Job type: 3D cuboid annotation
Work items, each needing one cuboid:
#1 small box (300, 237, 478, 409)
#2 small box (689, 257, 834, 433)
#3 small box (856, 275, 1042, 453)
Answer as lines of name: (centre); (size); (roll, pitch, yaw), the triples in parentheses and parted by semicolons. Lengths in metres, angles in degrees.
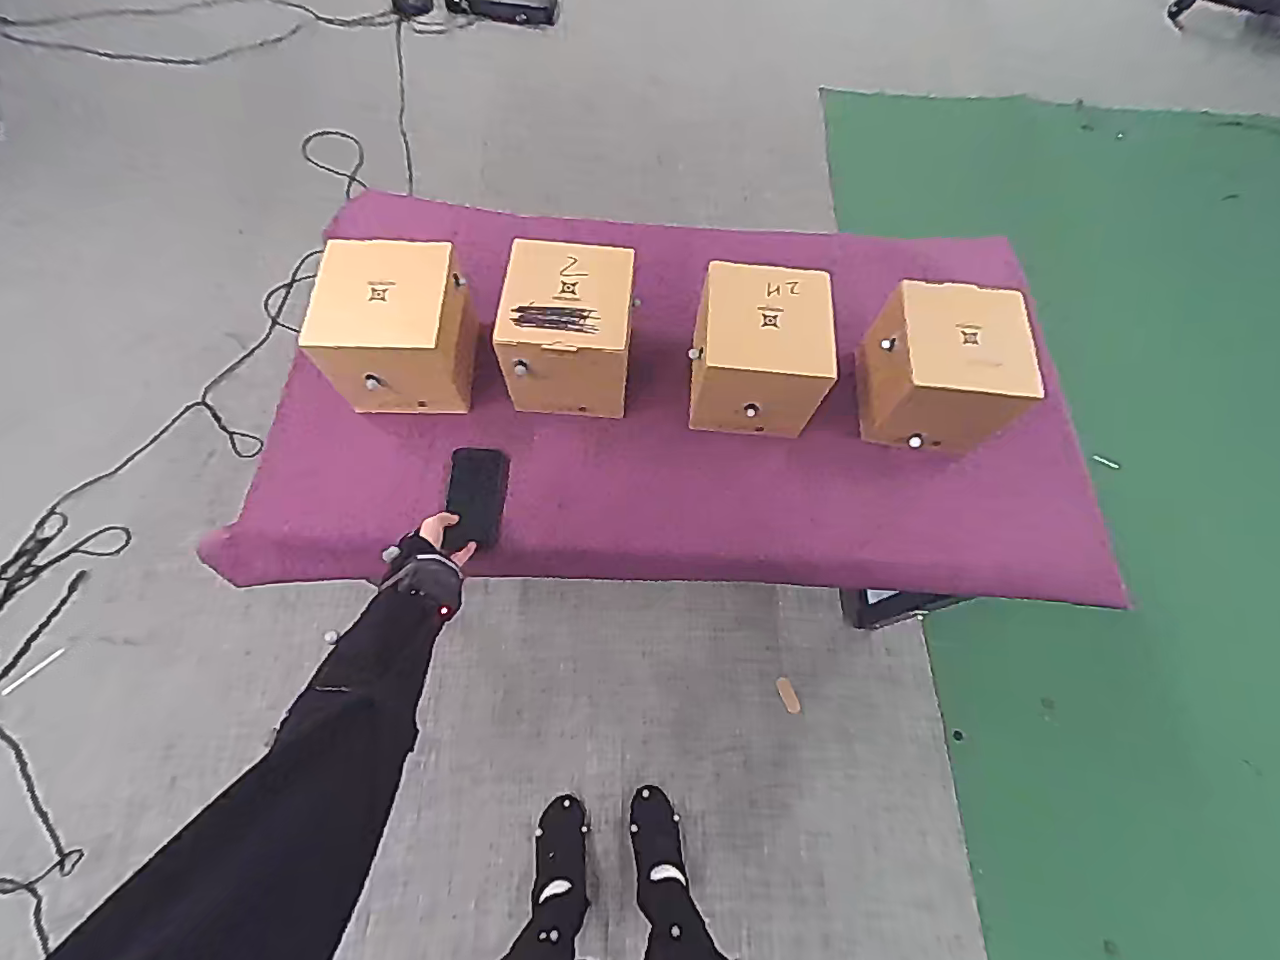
small box: (-0.335, -0.212, 0.762); (0.168, 0.176, 0.179); (0, 66, -3)
small box: (0.164, -0.184, 0.773); (0.168, 0.176, 0.179); (6, 66, -1)
small box: (0.424, -0.160, 0.777); (0.168, 0.176, 0.179); (7, 67, 1)
